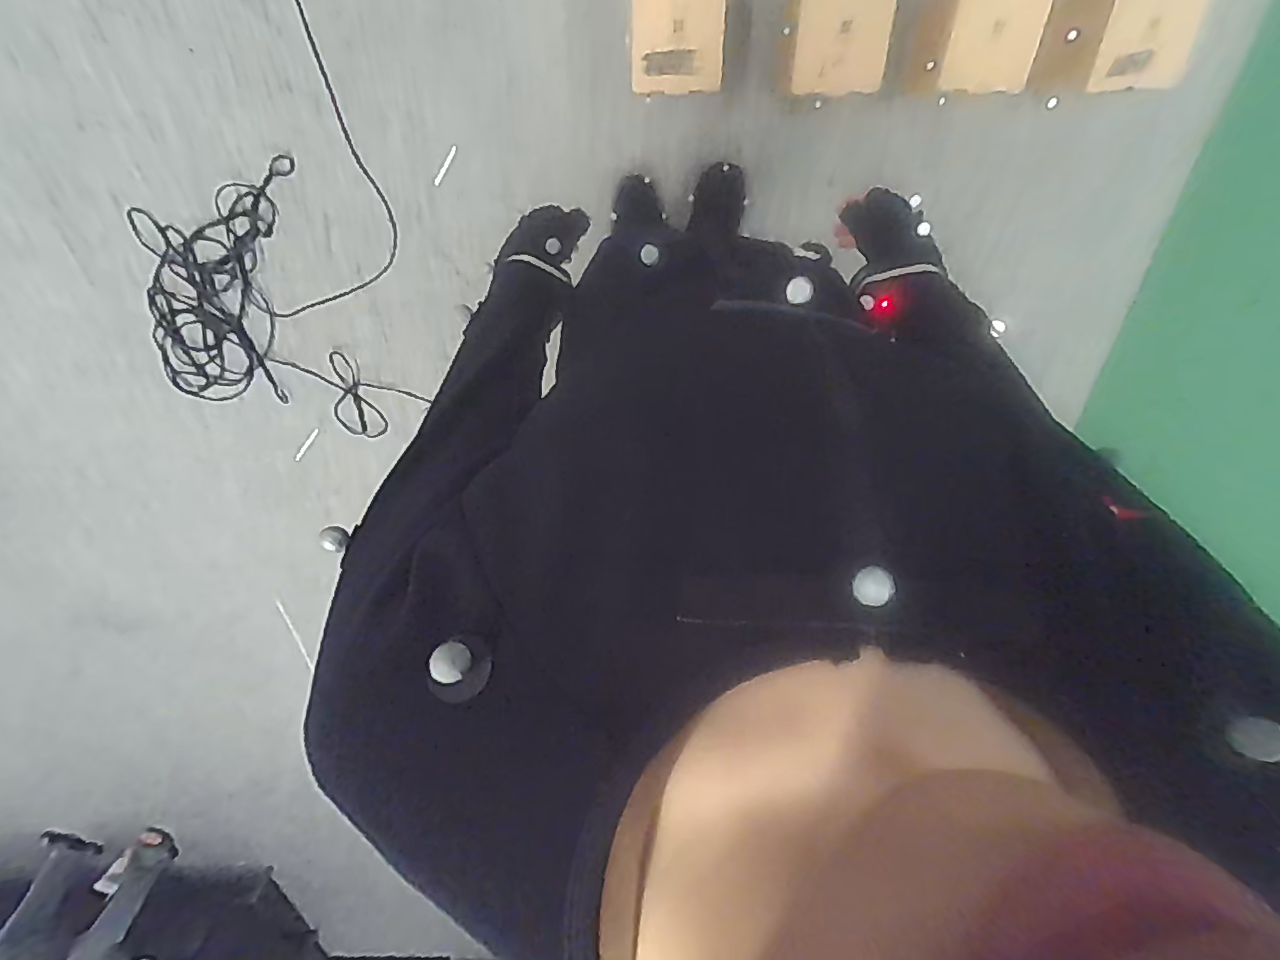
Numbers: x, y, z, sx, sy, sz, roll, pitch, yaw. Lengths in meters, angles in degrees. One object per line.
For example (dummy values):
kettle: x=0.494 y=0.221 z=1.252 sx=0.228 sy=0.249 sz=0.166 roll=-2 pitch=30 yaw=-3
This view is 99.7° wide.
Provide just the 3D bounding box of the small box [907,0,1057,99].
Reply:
small box: x=0.633 y=-0.832 z=1.016 sx=0.168 sy=0.176 sz=0.179 roll=1 pitch=122 yaw=0

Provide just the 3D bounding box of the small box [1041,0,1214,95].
small box: x=0.901 y=-0.833 z=1.013 sx=0.168 sy=0.176 sz=0.179 roll=-2 pitch=121 yaw=1

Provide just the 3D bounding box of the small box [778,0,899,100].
small box: x=0.364 y=-0.829 z=1.016 sx=0.168 sy=0.176 sz=0.179 roll=0 pitch=122 yaw=2
